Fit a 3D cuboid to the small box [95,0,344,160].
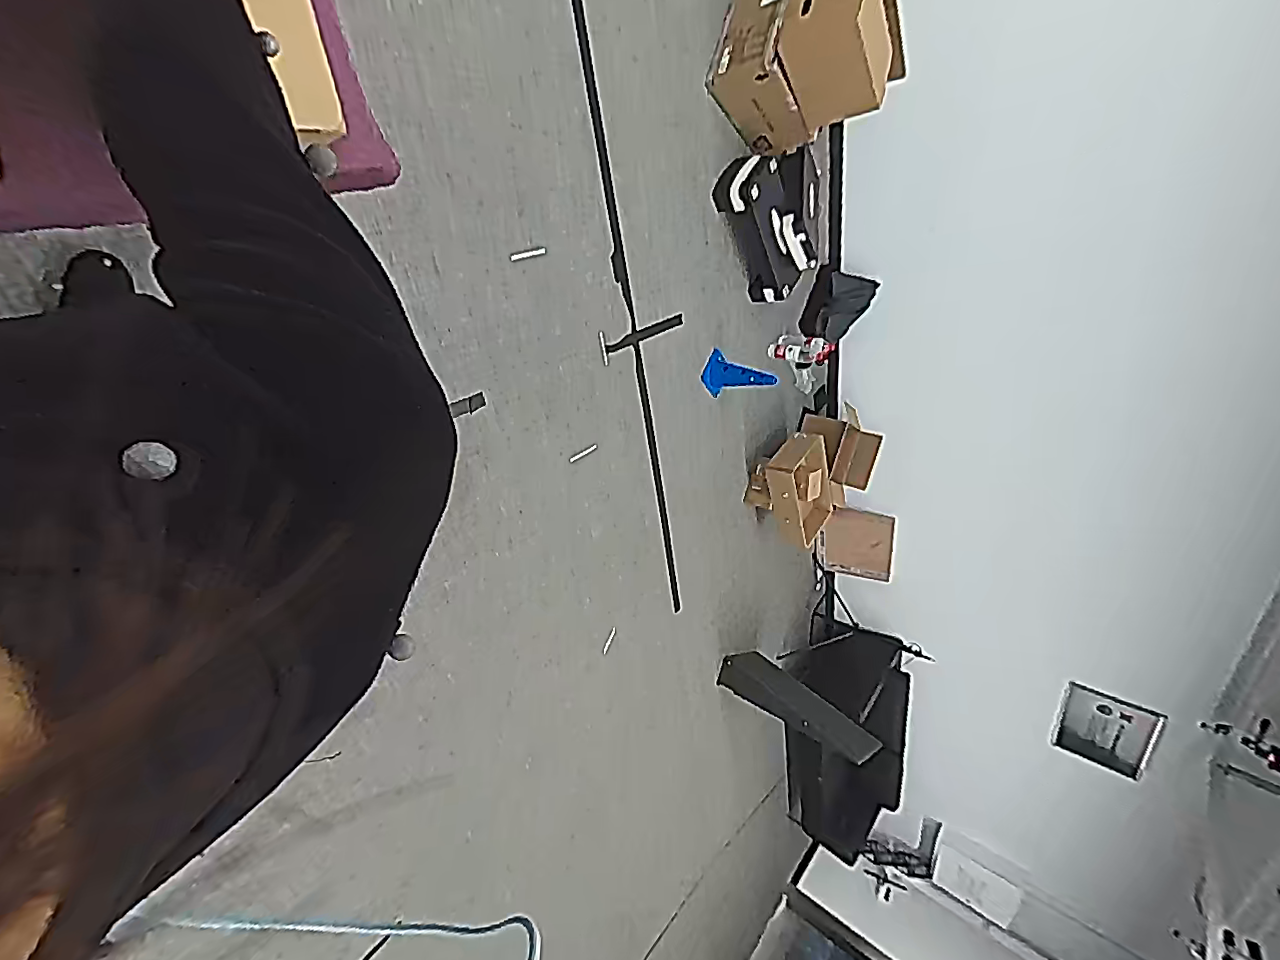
[{"bbox_3d":[-0.474,-0.478,0.610,0.168,0.176,0.179,-28,122,-39],"label":"small box"}]
